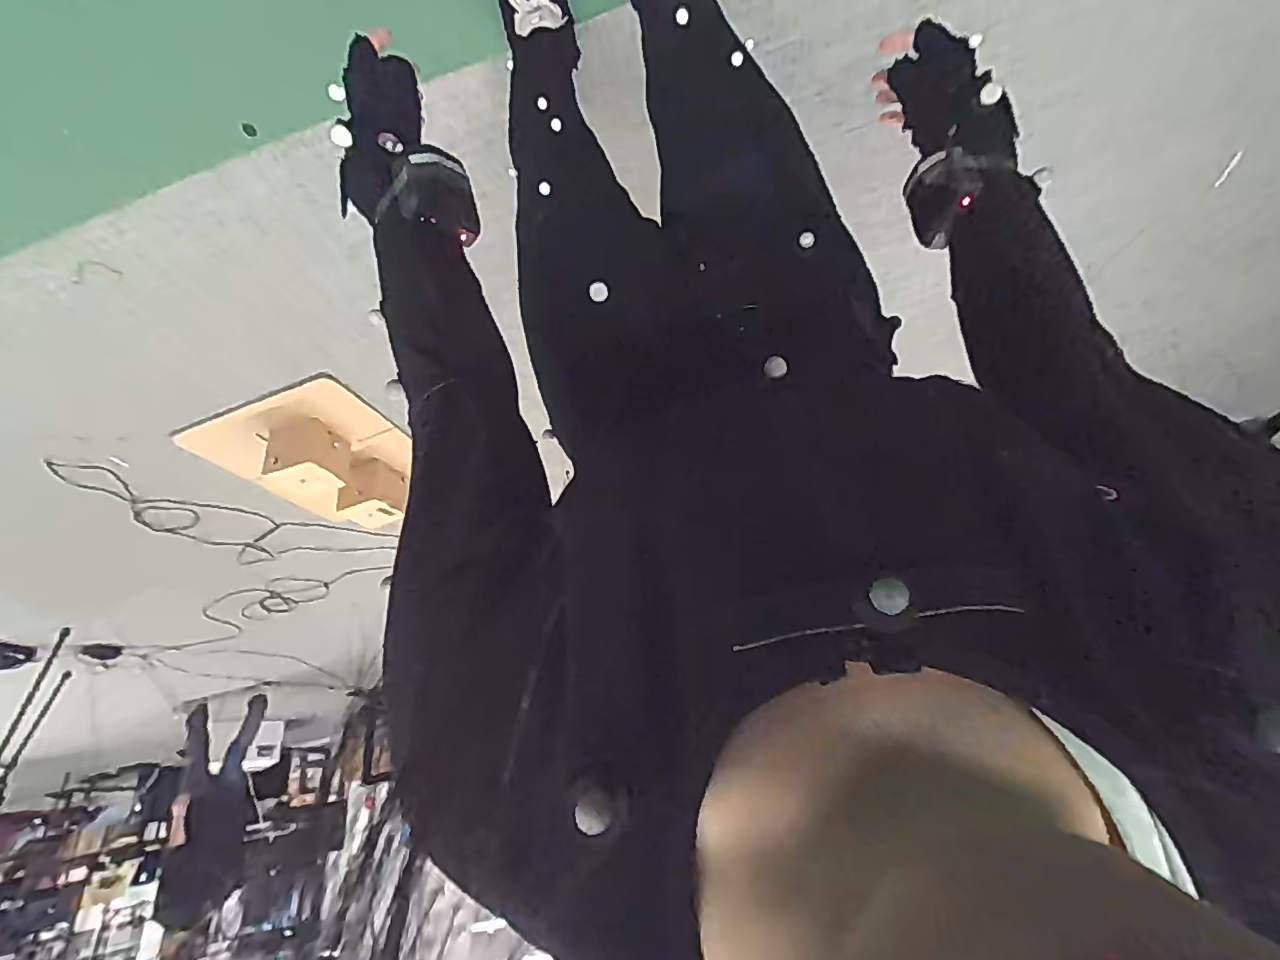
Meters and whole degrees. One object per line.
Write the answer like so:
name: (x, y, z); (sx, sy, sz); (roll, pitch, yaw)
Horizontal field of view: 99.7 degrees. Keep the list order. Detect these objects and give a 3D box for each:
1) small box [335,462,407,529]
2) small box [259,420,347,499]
small box: (-0.982, 0.056, 1.983); (0.179, 0.176, 0.168); (-18, 149, 12)
small box: (-1.081, -0.067, 1.751); (0.179, 0.176, 0.168); (-16, 150, 6)
